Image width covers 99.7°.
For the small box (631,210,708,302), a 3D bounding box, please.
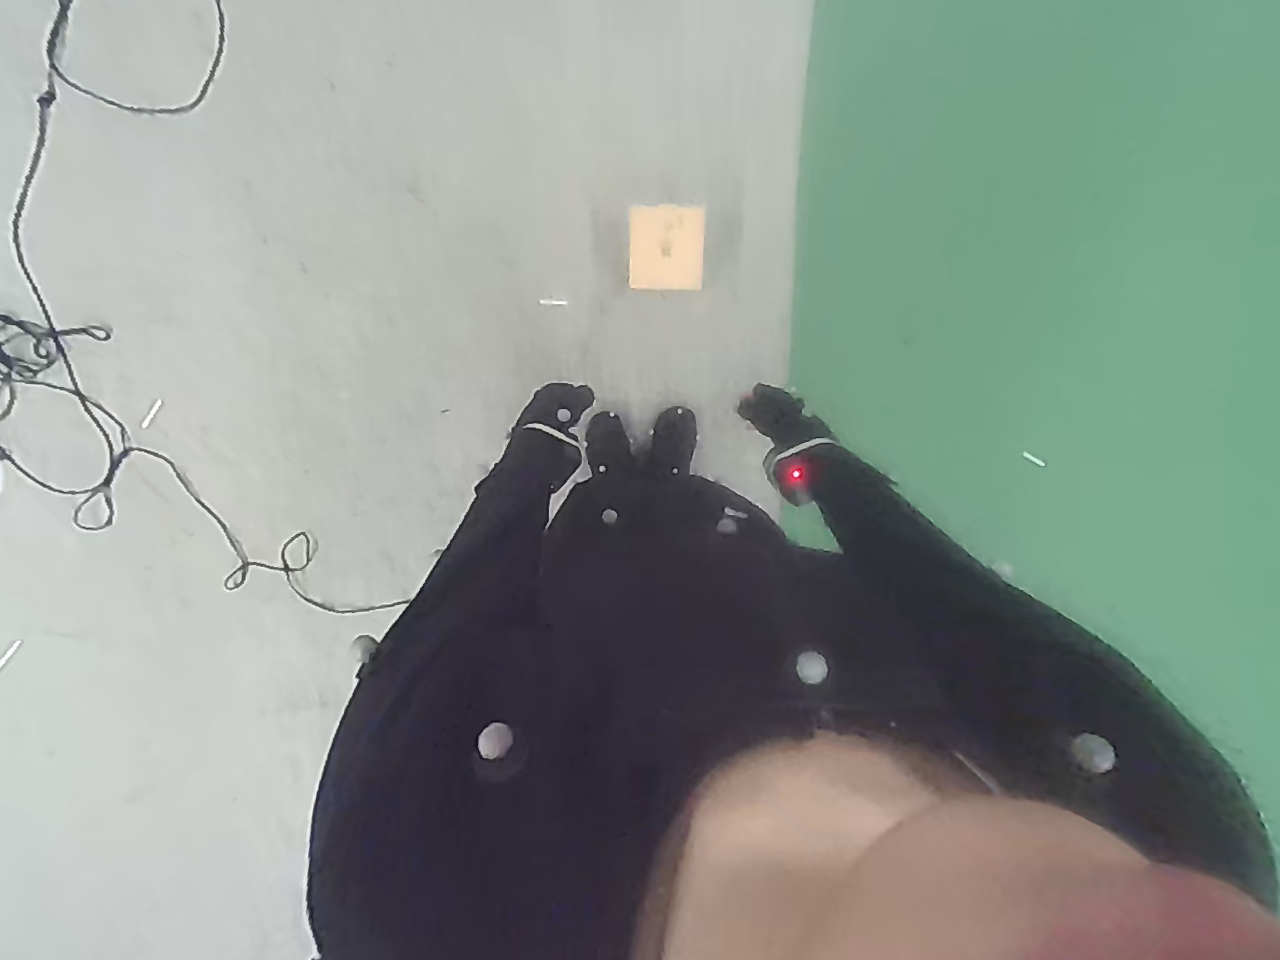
[{"bbox_3d":[0.064,-0.518,1.270,0.168,0.176,0.179,1,102,-2],"label":"small box"}]
